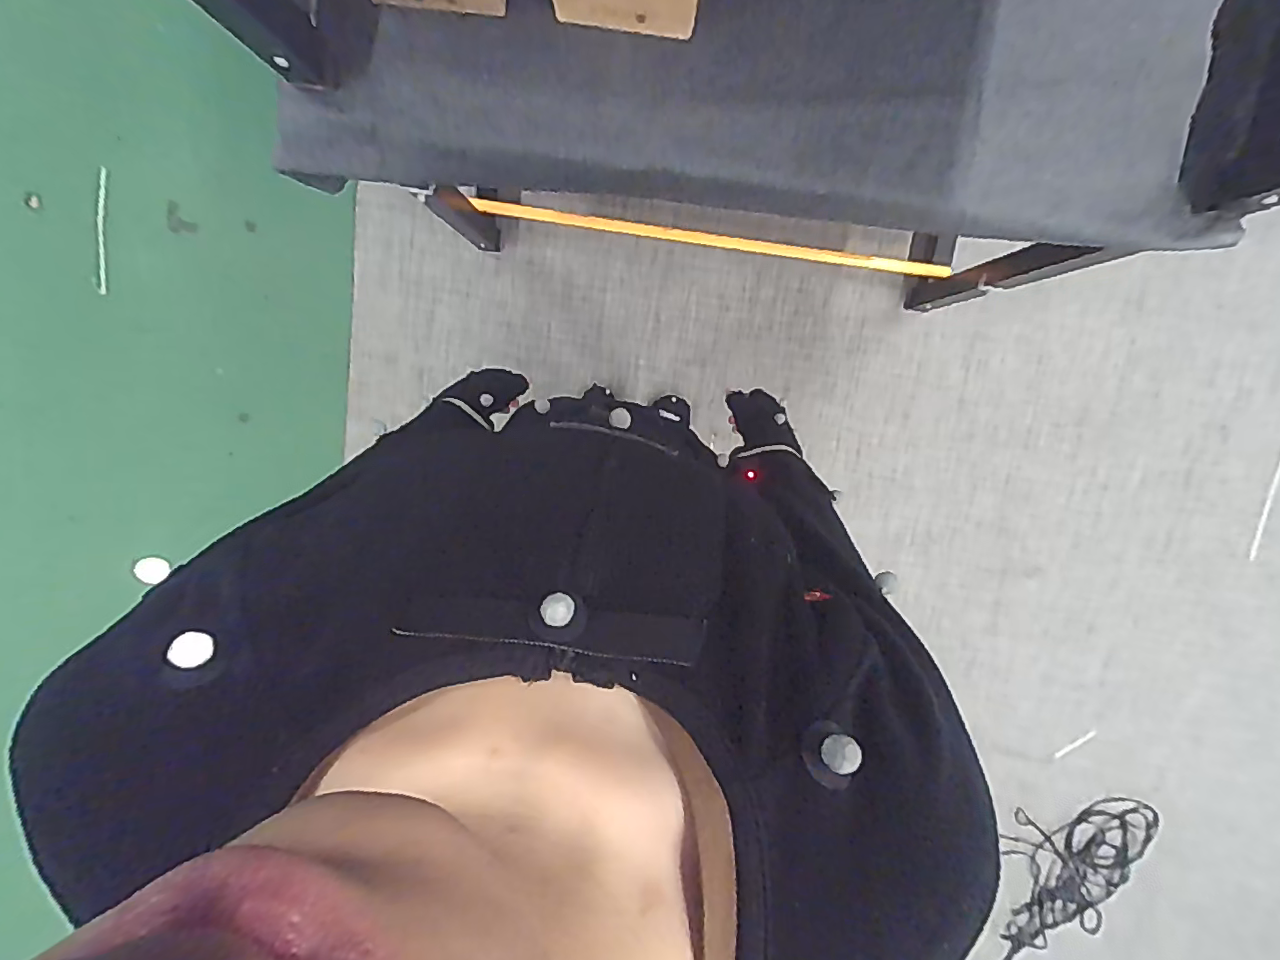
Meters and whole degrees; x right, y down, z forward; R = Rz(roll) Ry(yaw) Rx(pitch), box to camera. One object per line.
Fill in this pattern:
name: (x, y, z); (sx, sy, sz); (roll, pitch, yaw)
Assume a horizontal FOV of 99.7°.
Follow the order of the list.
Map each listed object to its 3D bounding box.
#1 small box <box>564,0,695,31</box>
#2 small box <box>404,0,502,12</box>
small box: (-0.011, -0.618, 0.560); (0.168, 0.176, 0.179); (8, 99, -1)
small box: (-0.236, -0.642, 0.556); (0.168, 0.176, 0.179); (6, 100, 0)
